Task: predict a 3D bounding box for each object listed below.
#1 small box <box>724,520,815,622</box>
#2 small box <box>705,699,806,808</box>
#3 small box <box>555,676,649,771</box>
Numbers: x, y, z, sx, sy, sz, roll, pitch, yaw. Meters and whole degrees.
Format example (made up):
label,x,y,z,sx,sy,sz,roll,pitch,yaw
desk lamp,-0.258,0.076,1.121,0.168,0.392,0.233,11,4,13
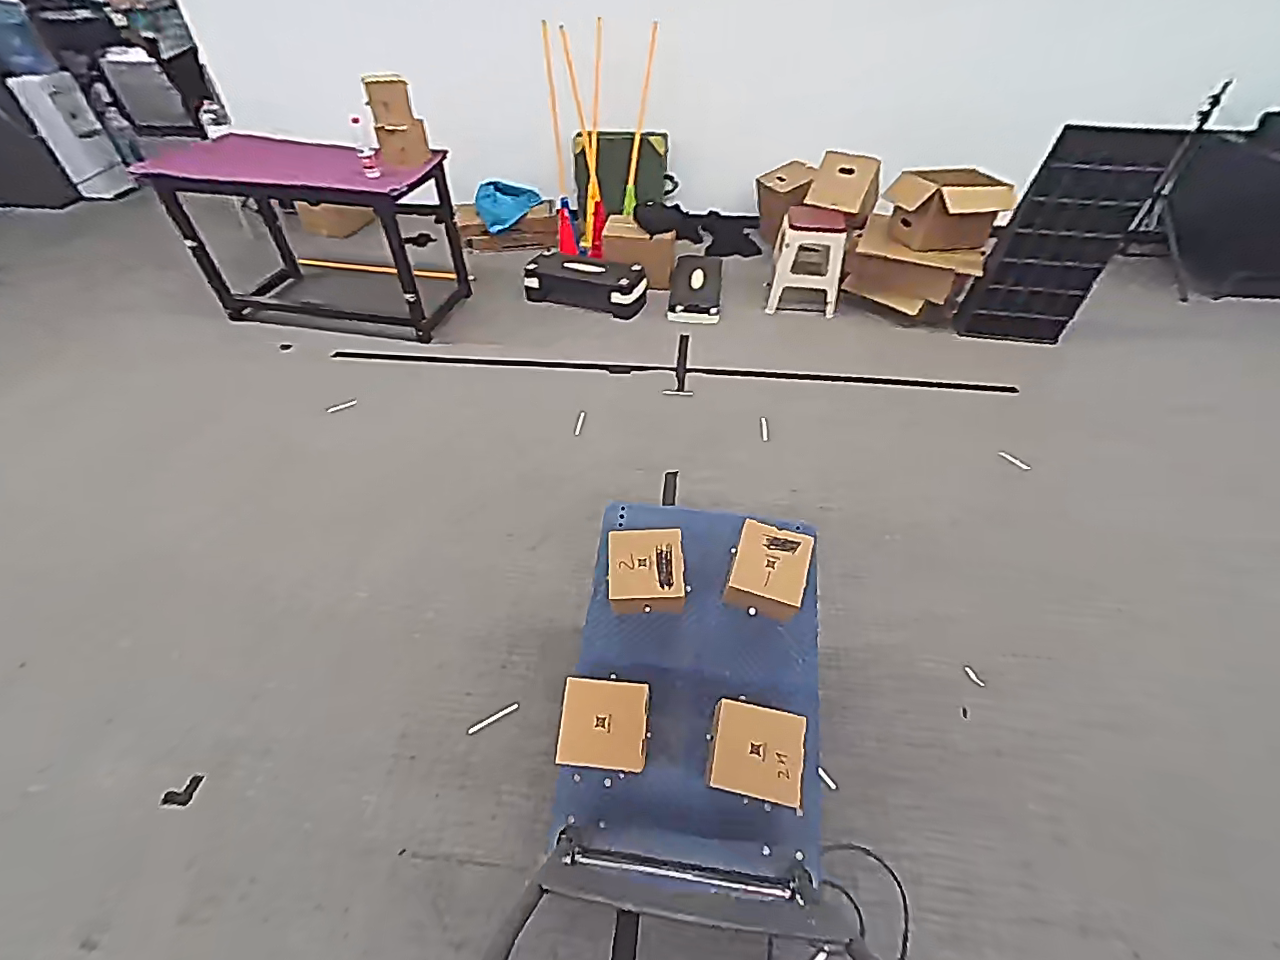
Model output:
label,x,y,z,sx,sy,sz,roll,pitch,yaw
small box,0.309,0.227,1.319,0.168,0.176,0.179,16,66,10
small box,0.238,0.576,1.143,0.179,0.176,0.168,11,64,7
small box,-0.075,0.532,1.177,0.179,0.176,0.168,5,63,3
